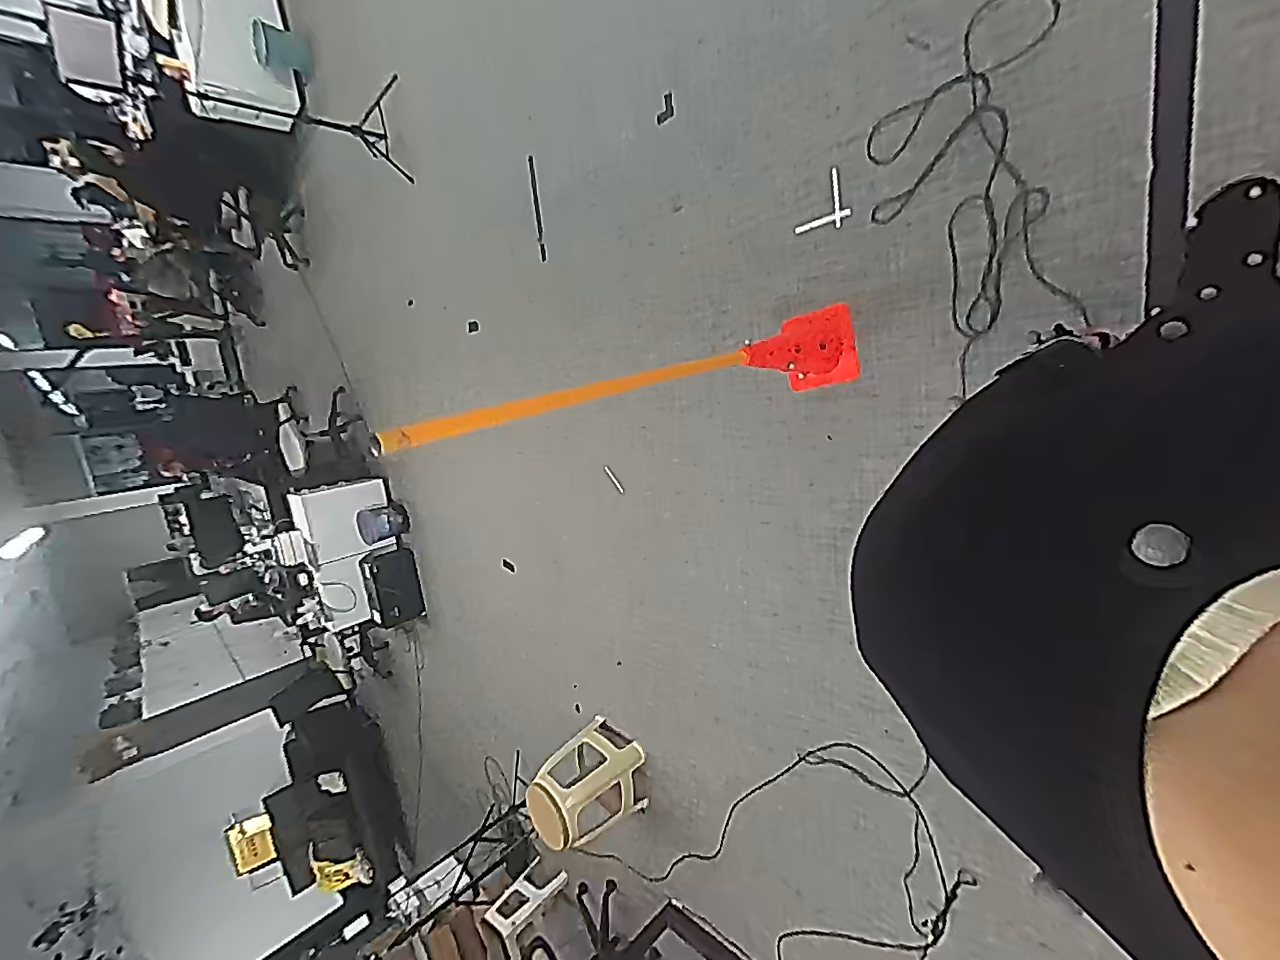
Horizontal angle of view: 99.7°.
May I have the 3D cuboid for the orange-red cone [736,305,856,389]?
[{"bbox_3d":[0.355,-0.315,1.333,0.199,0.360,0.198,-5,99,46],"label":"orange-red cone"}]
